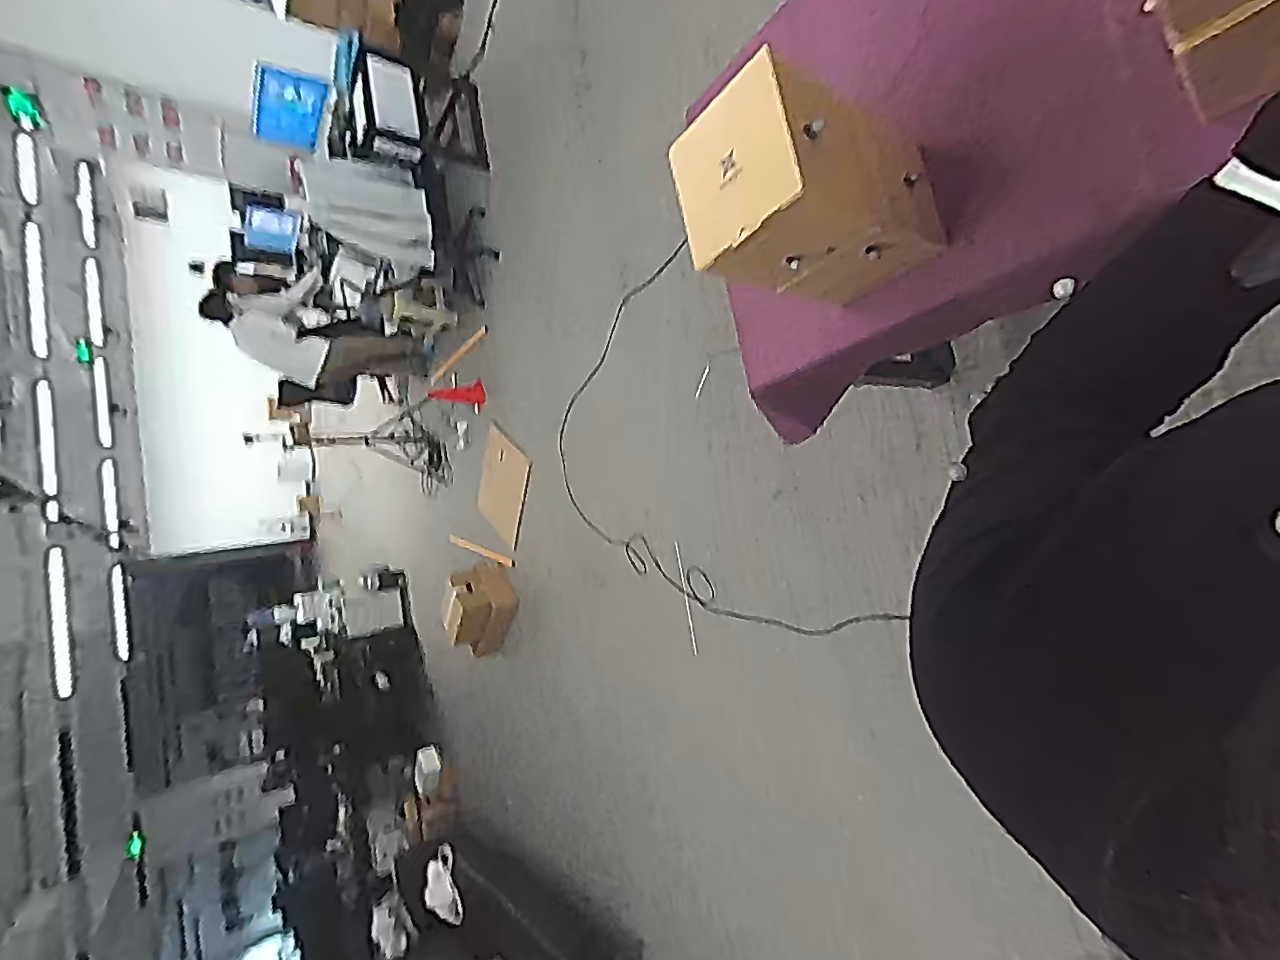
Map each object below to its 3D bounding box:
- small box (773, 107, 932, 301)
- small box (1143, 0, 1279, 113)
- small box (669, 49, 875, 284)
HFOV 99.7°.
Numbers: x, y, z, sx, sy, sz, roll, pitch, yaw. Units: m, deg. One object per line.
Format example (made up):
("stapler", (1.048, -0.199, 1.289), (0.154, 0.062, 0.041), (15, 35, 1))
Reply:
("small box", (0.296, -0.381, 0.784), (0.179, 0.176, 0.168), (-21, 78, 50))
("small box", (0.551, -0.460, 0.455), (0.179, 0.176, 0.168), (-17, 81, 51))
("small box", (0.166, -0.374, 0.685), (0.168, 0.176, 0.179), (-21, 79, 50))
